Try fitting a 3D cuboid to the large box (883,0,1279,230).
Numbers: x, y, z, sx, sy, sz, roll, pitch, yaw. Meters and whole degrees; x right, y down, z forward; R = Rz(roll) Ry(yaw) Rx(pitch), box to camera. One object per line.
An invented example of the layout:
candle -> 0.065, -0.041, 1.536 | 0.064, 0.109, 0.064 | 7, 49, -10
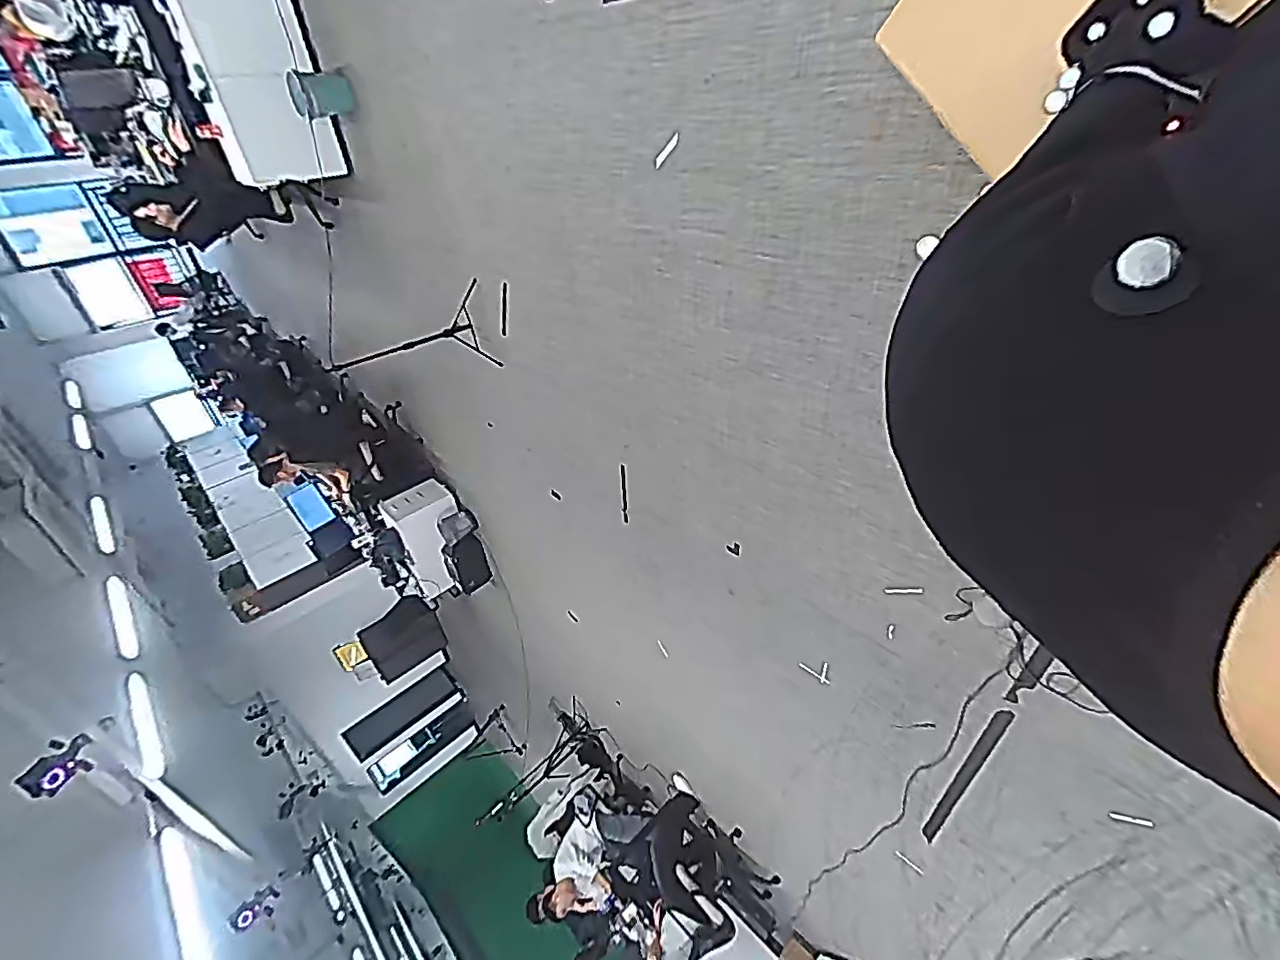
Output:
large box -> 0.593, -0.536, 0.649 | 0.320, 0.408, 0.320 | 64, 146, 15
